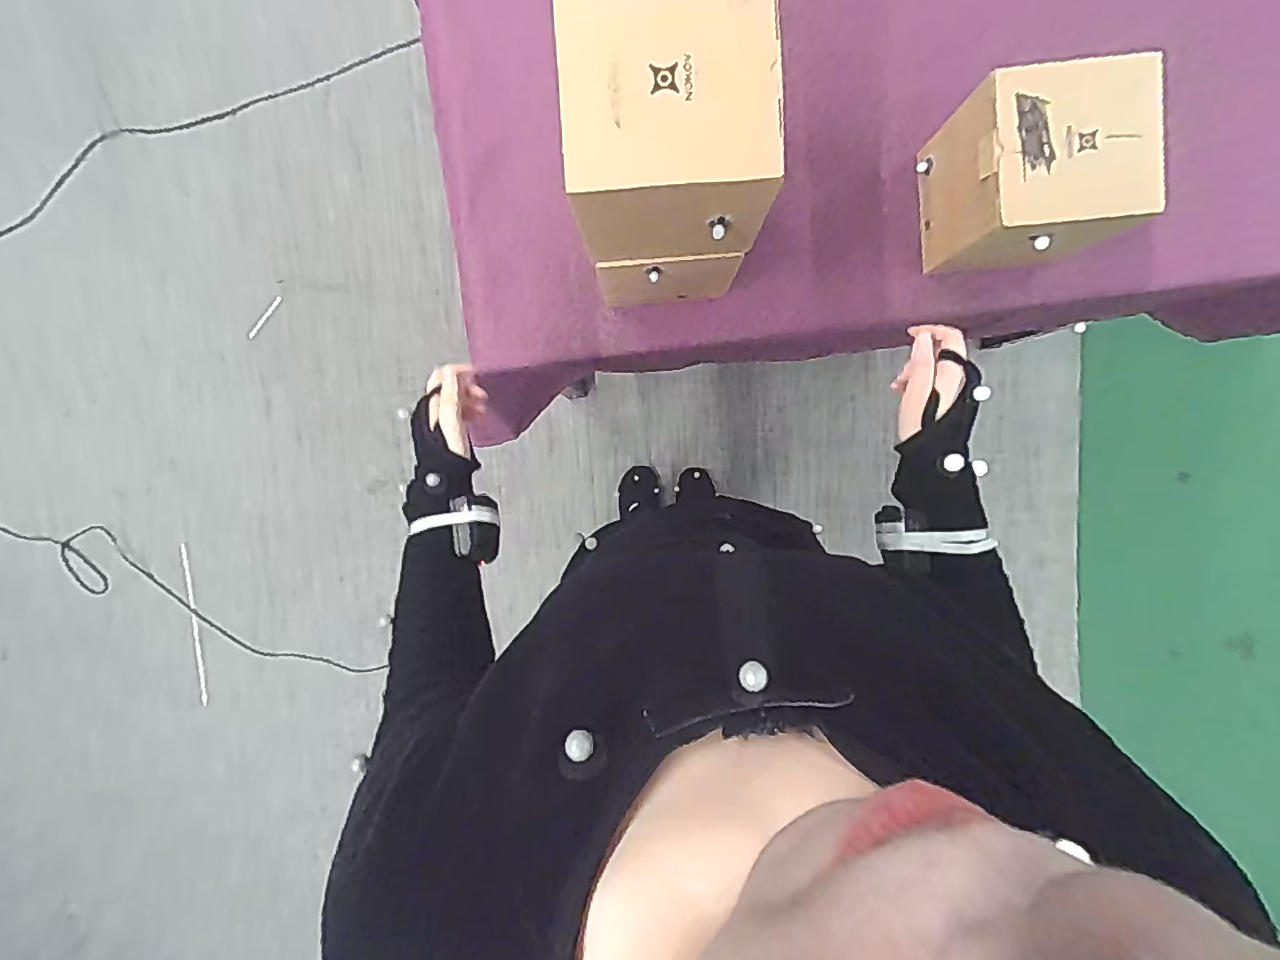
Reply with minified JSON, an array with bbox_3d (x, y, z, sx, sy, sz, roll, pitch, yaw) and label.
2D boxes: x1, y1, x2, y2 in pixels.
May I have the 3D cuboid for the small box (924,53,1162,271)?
[{"bbox_3d":[0.463,-0.363,0.651,0.179,0.176,0.168,-4,94,2],"label":"small box"}]

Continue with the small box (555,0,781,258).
[{"bbox_3d":[0.024,-0.320,0.503,0.179,0.176,0.168,-2,94,2],"label":"small box"}]

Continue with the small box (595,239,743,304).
[{"bbox_3d":[0.029,-0.331,0.667,0.168,0.176,0.179,-4,94,3],"label":"small box"}]
